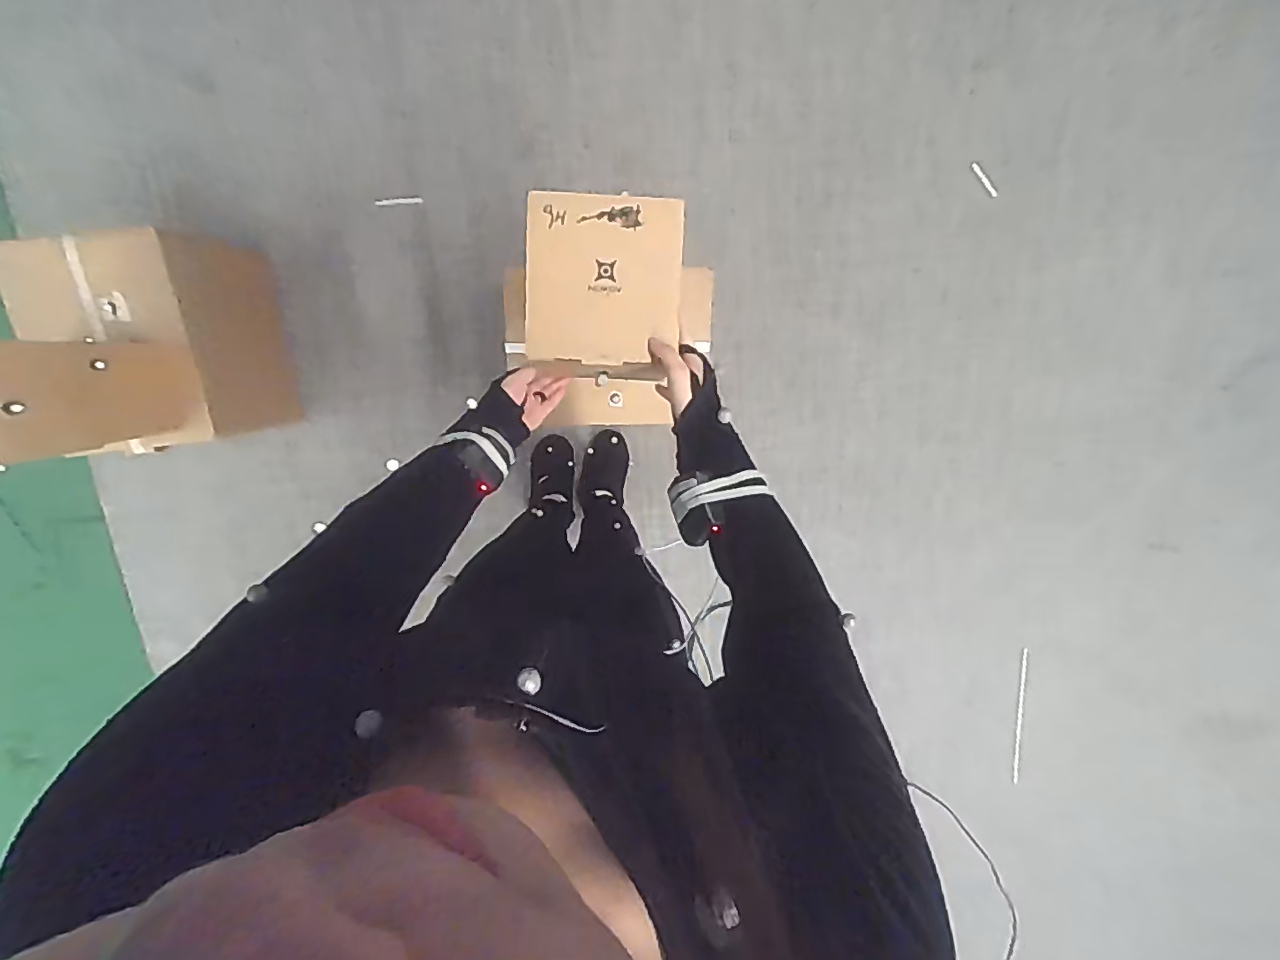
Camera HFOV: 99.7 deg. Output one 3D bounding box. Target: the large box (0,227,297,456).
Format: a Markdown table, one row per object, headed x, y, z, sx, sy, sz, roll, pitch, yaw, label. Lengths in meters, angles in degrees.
| x | y | z | sx | sy | sz | roll | pitch | yaw | label |
| --- | --- | --- | --- | --- | --- | --- | --- | --- | --- |
| -1.027 | -0.286 | 1.177 | 0.320 | 0.320 | 0.408 | -6 | 102 | -2 | large box |

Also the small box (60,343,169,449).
| x | y | z | sx | sy | sz | roll | pitch | yaw | label |
| --- | --- | --- | --- | --- | --- | --- | --- | --- | --- |
| -0.994 | -0.149 | 0.959 | 0.168 | 0.176 | 0.179 | -4 | 102 | -2 | small box |

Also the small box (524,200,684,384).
| x | y | z | sx | sy | sz | roll | pitch | yaw | label |
| --- | --- | --- | --- | --- | --- | --- | --- | --- | --- |
| -0.043 | -0.211 | 0.656 | 0.168 | 0.176 | 0.179 | 3 | 96 | -4 | small box |

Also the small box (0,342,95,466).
| x | y | z | sx | sy | sz | roll | pitch | yaw | label |
| --- | --- | --- | --- | --- | --- | --- | --- | --- | --- |
| -0.977 | -0.112 | 0.799 | 0.168 | 0.176 | 0.179 | -4 | 102 | -3 | small box |
